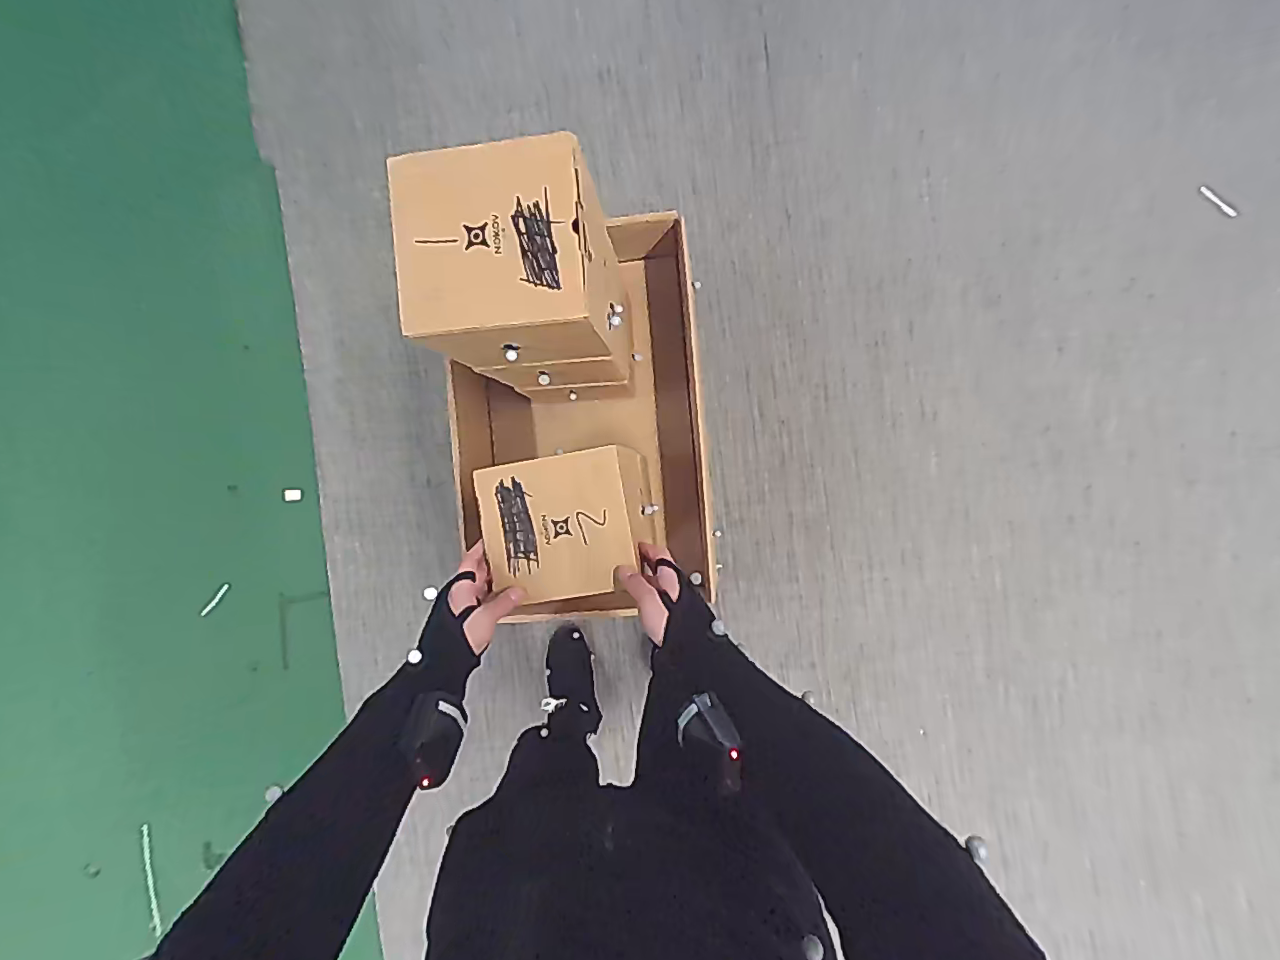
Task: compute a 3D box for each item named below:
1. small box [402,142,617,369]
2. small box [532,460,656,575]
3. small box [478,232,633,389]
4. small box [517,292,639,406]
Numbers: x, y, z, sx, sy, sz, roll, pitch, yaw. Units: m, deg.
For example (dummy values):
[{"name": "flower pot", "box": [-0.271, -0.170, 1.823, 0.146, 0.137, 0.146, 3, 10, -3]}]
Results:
[{"name": "small box", "box": [-0.119, -0.216, 0.565, 0.179, 0.176, 0.168, -3, 91, 5]}, {"name": "small box", "box": [-0.066, 0.056, 0.887, 0.179, 0.176, 0.168, -6, 89, 4]}, {"name": "small box", "box": [-0.108, -0.218, 0.729, 0.179, 0.176, 0.168, -3, 92, 5]}, {"name": "small box", "box": [-0.097, -0.216, 0.893, 0.179, 0.176, 0.168, -2, 91, 3]}]
